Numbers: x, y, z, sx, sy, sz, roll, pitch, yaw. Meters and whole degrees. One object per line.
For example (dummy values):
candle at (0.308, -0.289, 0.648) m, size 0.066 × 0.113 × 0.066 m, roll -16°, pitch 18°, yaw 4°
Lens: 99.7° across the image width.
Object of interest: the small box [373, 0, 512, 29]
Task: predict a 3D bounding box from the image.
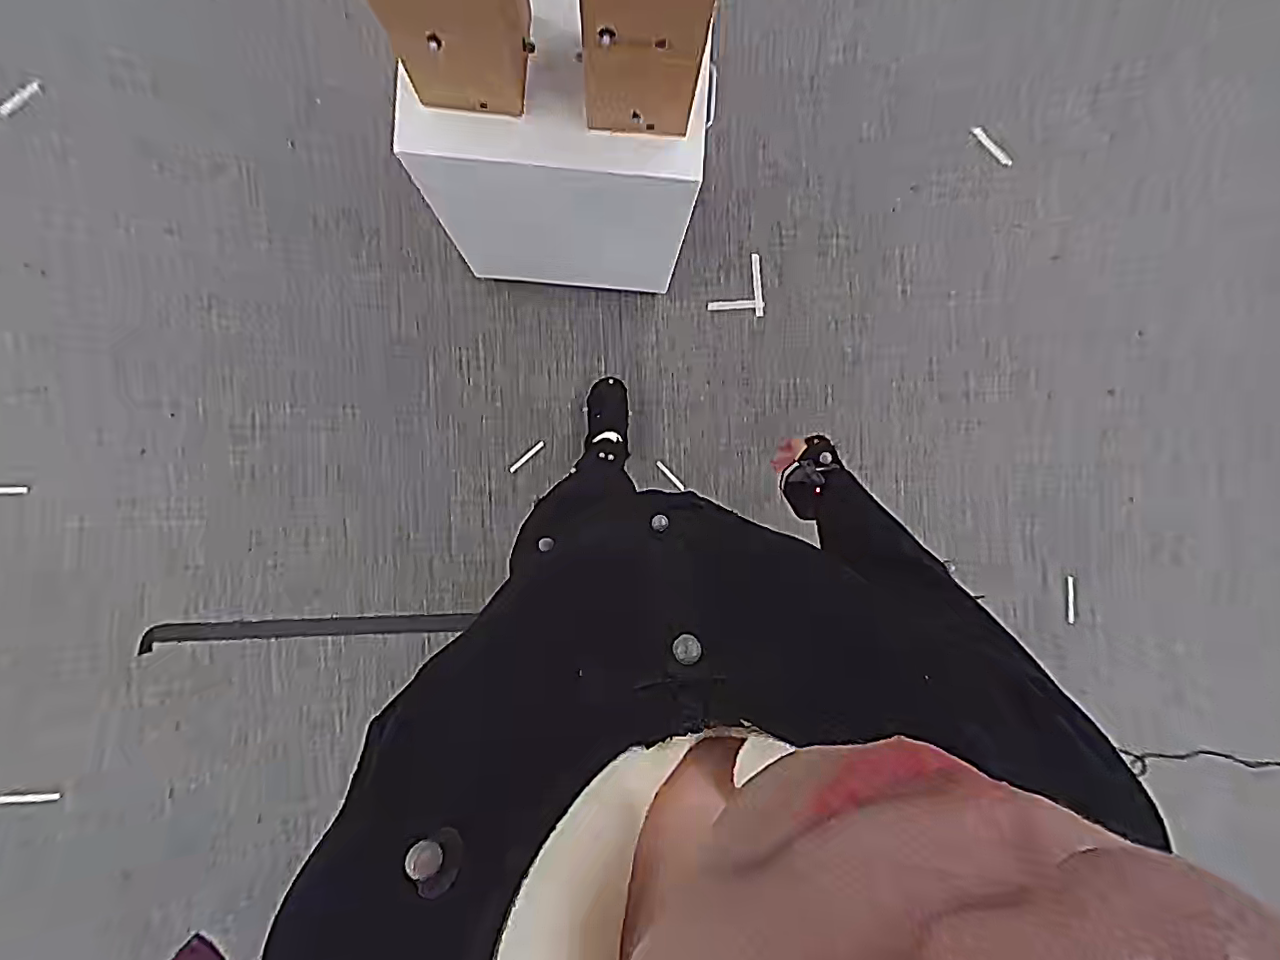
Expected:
small box at (-0.248, -0.676, 0.629) m, size 0.179 × 0.176 × 0.168 m, roll 4°, pitch 91°, yaw -4°

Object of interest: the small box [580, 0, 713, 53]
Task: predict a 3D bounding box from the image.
small box at (0.012, -0.659, 0.646) m, size 0.168 × 0.176 × 0.179 m, roll 2°, pitch 90°, yaw -3°

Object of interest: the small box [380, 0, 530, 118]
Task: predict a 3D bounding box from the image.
small box at (-0.258, -0.681, 0.794) m, size 0.168 × 0.176 × 0.179 m, roll 5°, pitch 89°, yaw -3°
